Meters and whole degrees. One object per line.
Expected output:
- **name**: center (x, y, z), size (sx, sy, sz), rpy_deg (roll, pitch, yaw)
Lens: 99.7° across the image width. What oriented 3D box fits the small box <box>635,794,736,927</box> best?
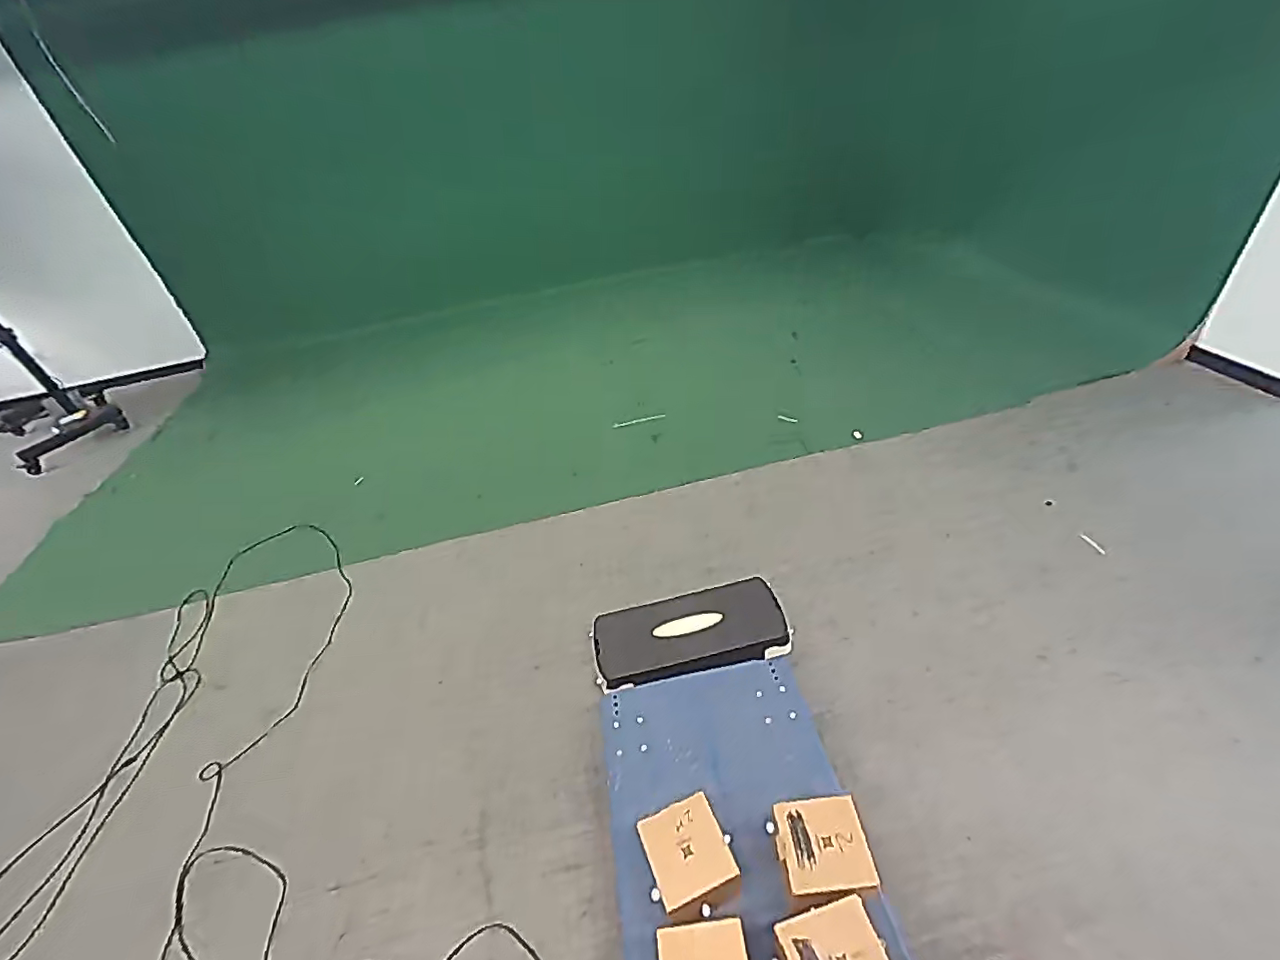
- **small box**: center (0.103, 0.843, 1.190), size (0.168, 0.176, 0.179), rpy_deg (-18, 39, -13)
